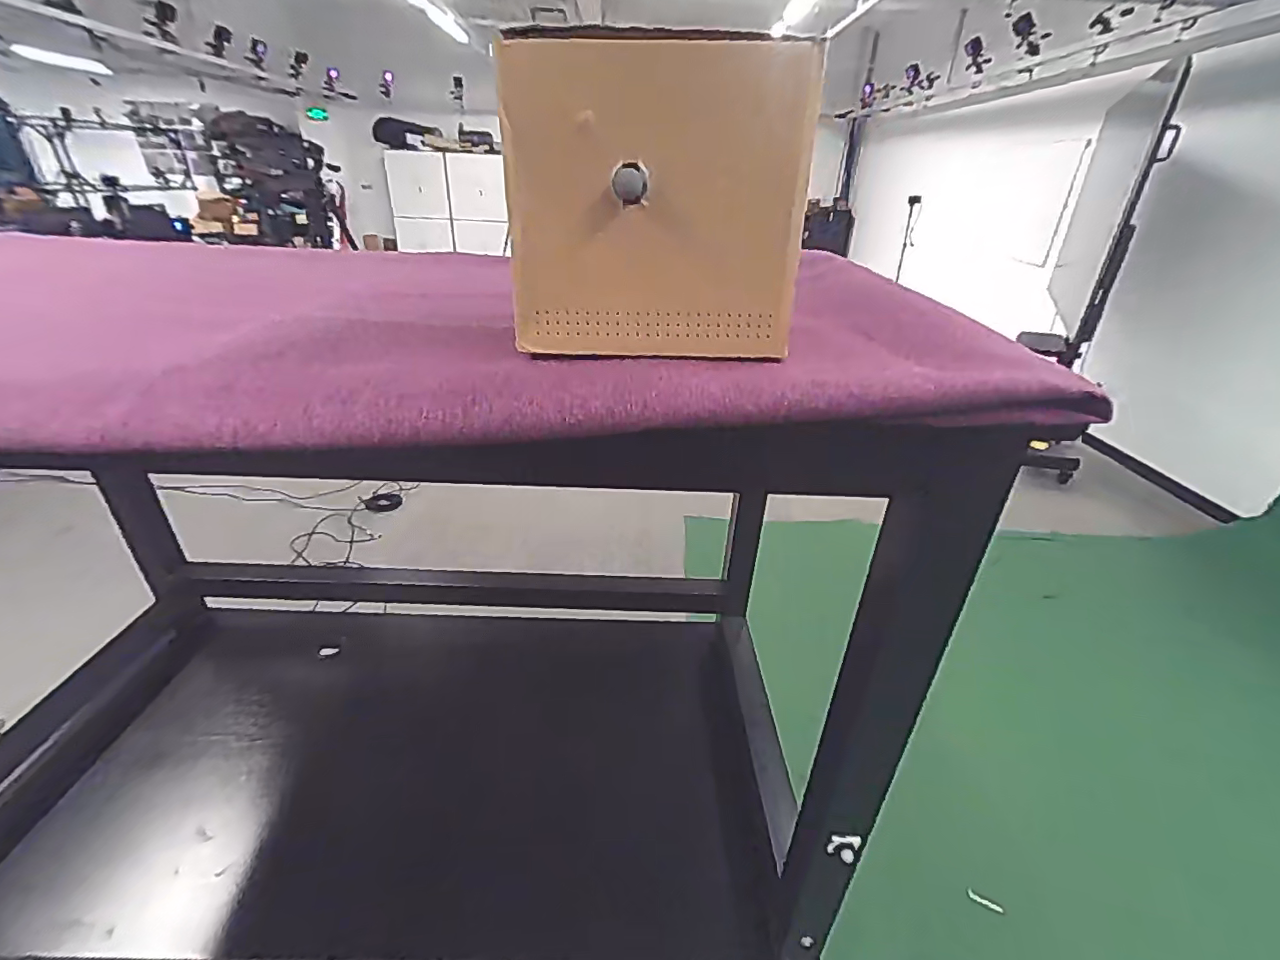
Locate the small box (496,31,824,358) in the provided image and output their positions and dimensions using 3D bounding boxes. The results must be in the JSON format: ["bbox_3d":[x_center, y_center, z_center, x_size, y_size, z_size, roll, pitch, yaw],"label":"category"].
[{"bbox_3d":[0.012,-0.187,0.385,0.179,0.176,0.168,1,26,1],"label":"small box"}]
